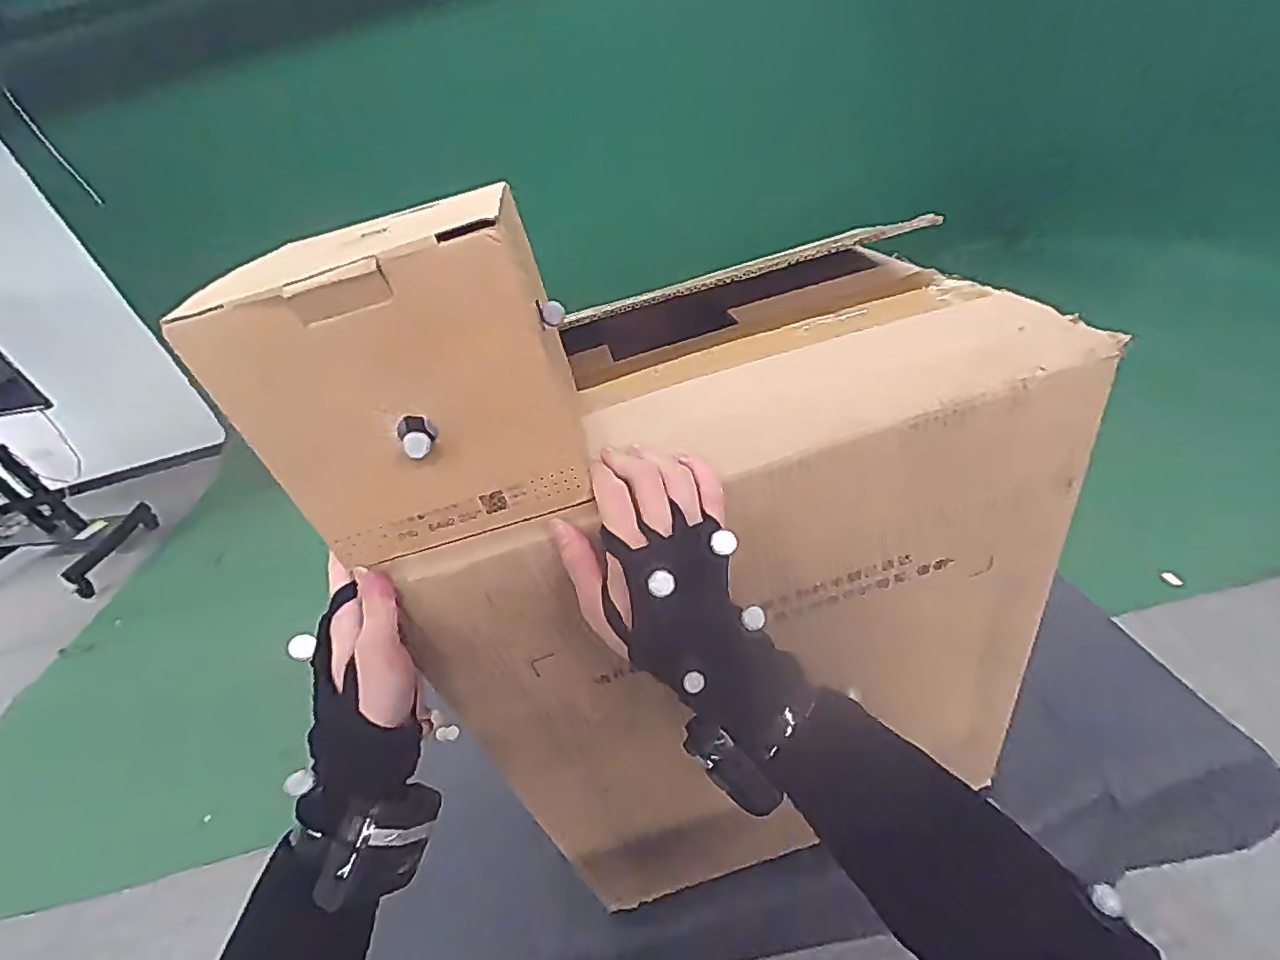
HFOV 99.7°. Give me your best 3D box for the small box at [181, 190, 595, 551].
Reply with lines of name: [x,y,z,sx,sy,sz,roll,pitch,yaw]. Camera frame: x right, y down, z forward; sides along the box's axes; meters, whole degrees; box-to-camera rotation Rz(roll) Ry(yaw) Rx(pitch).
small box: [-0.135,-0.072,0.367,0.168,0.176,0.179,-16,36,-1]
